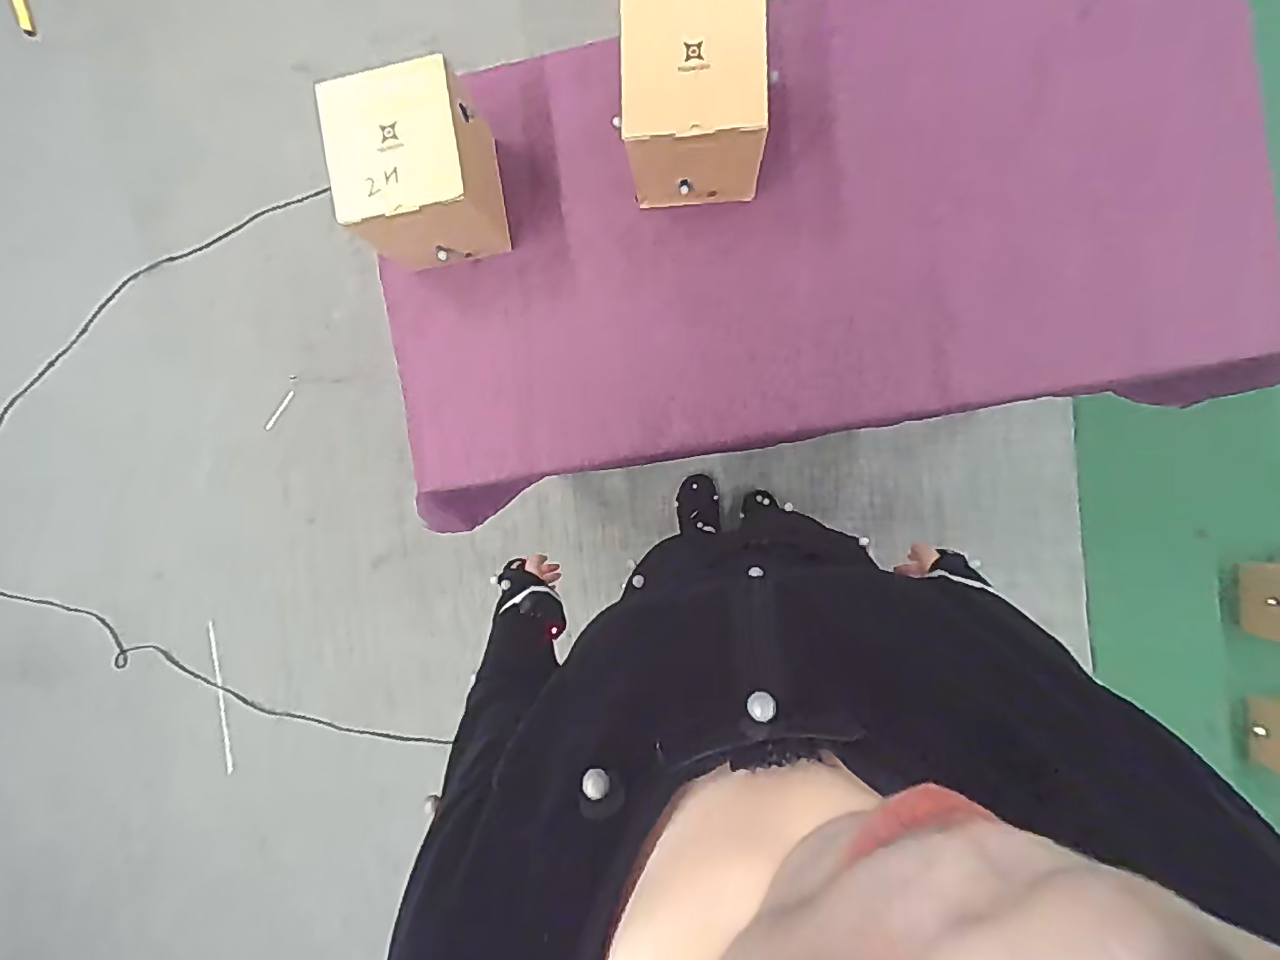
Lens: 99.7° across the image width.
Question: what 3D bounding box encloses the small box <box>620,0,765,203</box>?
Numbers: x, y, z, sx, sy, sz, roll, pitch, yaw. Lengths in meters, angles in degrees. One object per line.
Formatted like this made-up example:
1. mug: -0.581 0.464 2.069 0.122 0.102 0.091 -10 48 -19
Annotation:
1. small box: 0.066 -0.484 0.691 0.168 0.176 0.179 -1 93 6

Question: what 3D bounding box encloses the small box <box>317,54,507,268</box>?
1. small box: -0.294 -0.413 0.729 0.168 0.176 0.179 -8 91 6

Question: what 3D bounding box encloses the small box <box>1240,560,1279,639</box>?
1. small box: 1.584 0.289 1.273 0.168 0.176 0.179 -3 90 6
